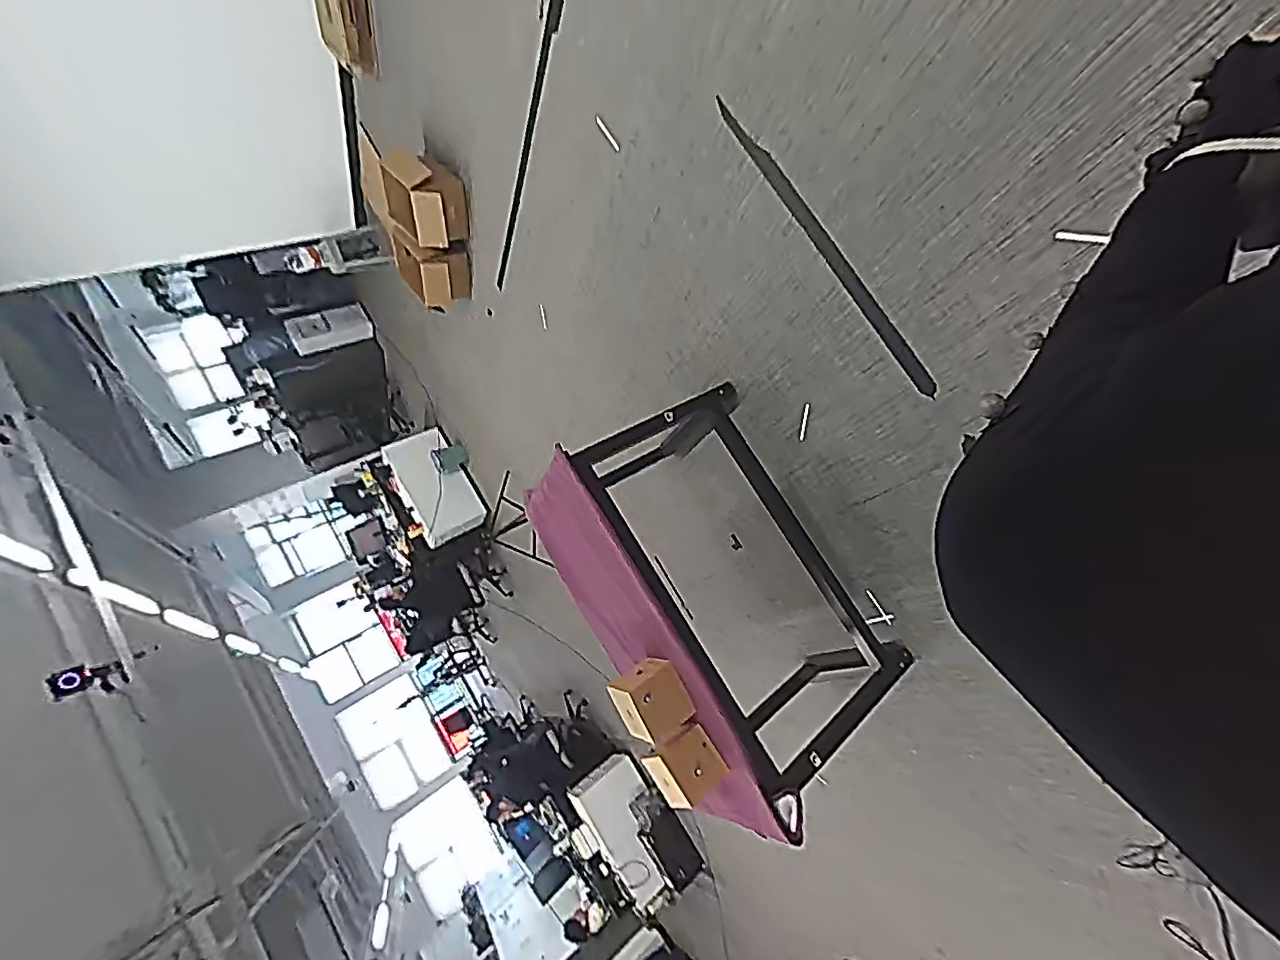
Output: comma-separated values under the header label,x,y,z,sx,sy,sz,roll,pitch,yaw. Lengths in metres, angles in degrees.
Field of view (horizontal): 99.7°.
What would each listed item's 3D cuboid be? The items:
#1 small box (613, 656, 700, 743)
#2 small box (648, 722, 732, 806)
label,x,y,z,sx,sy,sz,roll,pitch,yaw
small box,0.051,0.663,1.658,0.179,0.176,0.168,63,151,-1
small box,0.156,0.870,1.662,0.168,0.176,0.179,54,149,15
